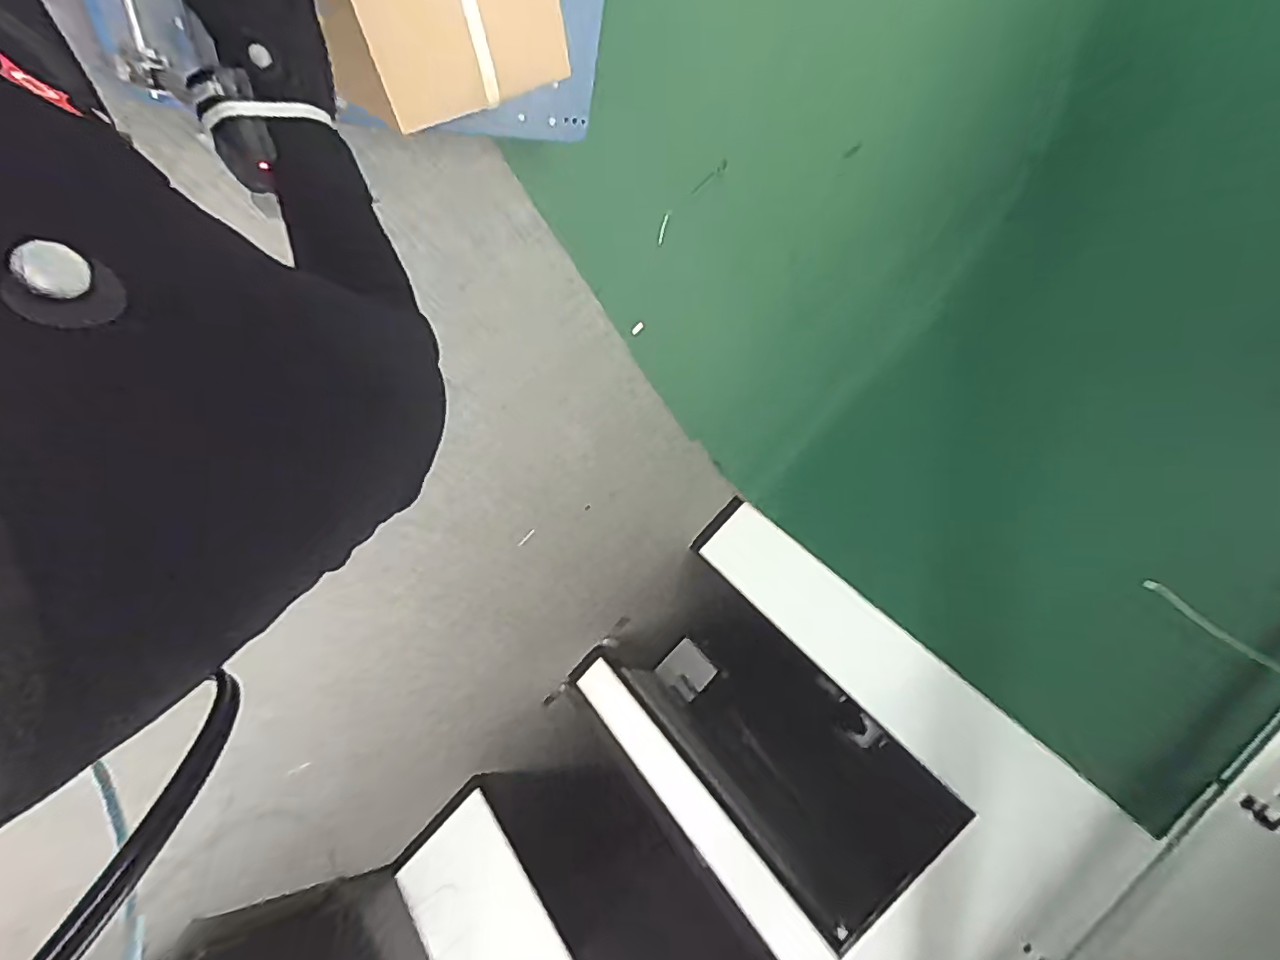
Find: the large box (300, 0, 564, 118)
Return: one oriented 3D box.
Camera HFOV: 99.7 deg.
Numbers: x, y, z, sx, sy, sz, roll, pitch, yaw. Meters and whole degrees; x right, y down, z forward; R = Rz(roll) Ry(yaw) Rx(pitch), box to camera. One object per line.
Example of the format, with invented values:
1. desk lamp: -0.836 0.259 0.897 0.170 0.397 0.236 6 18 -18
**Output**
1. large box: -0.354 -0.824 0.777 0.320 0.320 0.408 -34 146 -19
